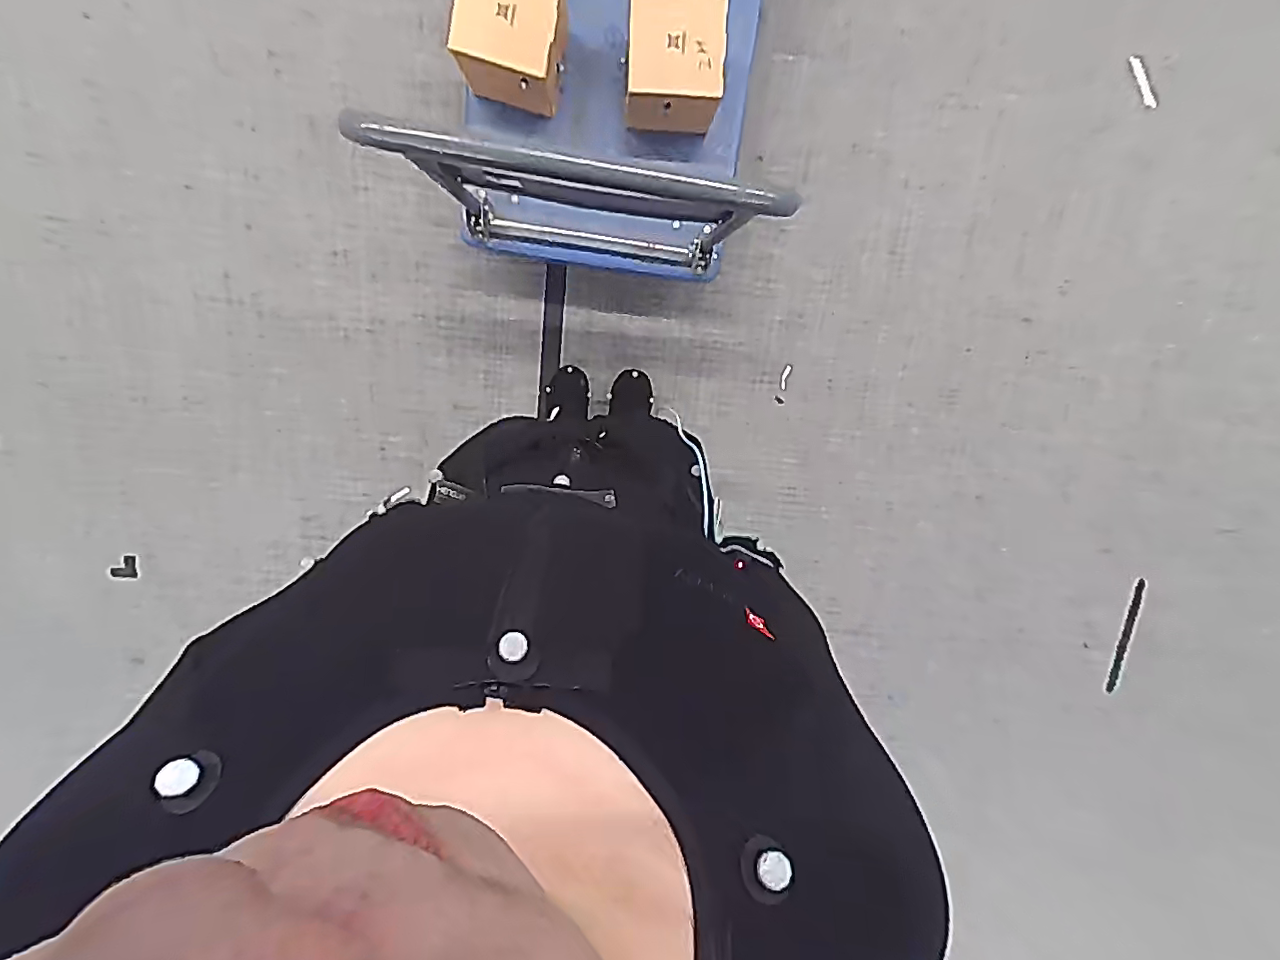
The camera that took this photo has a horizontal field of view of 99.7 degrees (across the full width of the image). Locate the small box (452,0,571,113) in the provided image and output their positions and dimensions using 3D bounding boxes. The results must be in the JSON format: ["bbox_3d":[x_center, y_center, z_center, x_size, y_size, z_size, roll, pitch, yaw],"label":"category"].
[{"bbox_3d":[-0.235,-0.834,1.023,0.179,0.176,0.168,13,102,-7],"label":"small box"}]

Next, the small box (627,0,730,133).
[{"bbox_3d":[0.066,-0.798,1.047,0.179,0.176,0.168,2,104,-3],"label":"small box"}]
